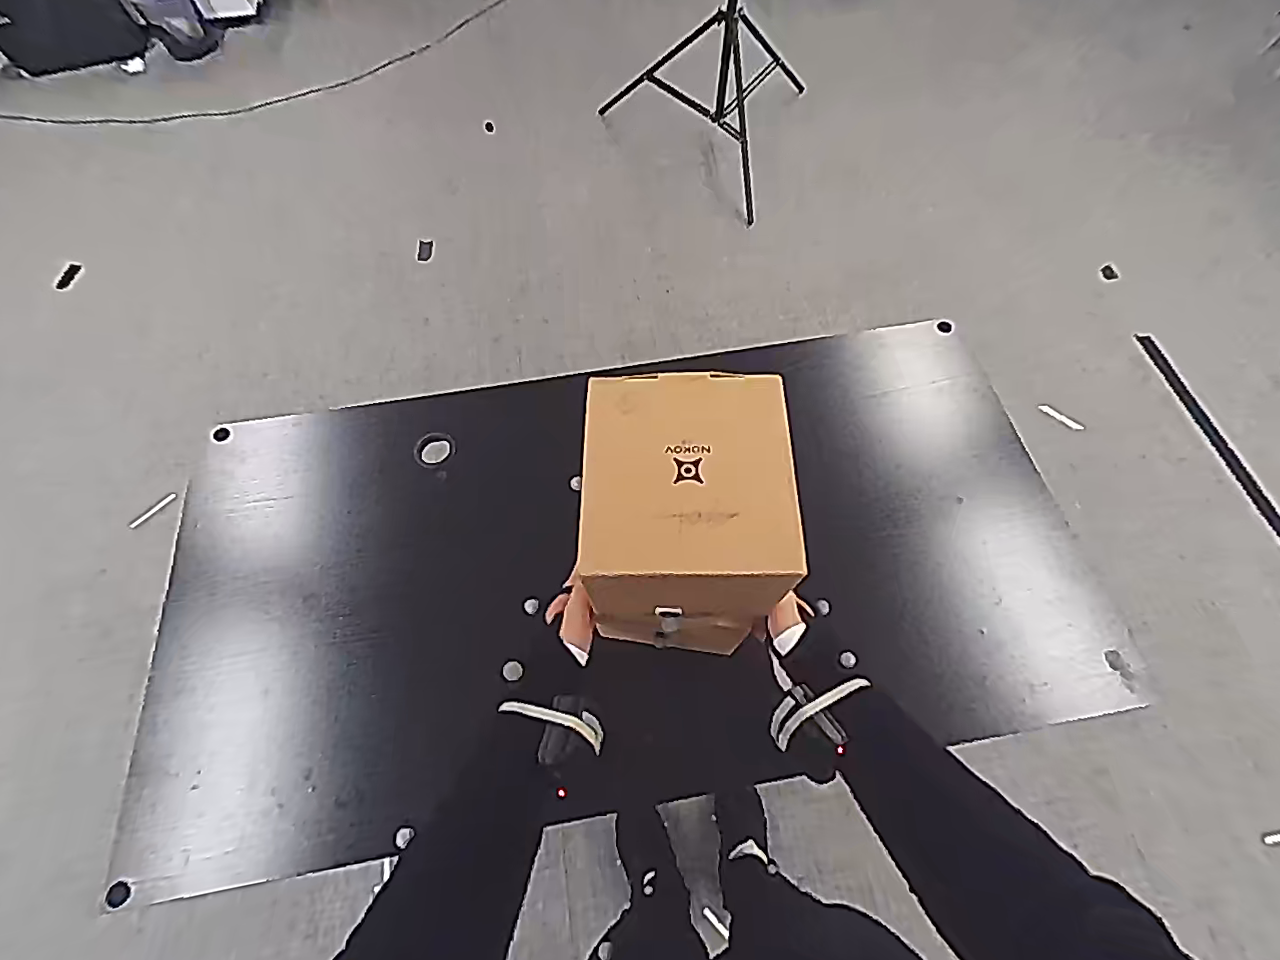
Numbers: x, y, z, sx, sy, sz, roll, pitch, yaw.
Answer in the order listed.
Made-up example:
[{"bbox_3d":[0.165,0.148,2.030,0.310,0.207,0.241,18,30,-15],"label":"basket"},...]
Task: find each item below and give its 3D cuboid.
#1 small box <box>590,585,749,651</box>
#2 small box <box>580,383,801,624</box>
[{"bbox_3d":[0.043,0.100,0.651,0.168,0.176,0.179,6,64,4],"label":"small box"},{"bbox_3d":[0.039,0.029,0.503,0.168,0.176,0.179,-1,65,2],"label":"small box"}]
